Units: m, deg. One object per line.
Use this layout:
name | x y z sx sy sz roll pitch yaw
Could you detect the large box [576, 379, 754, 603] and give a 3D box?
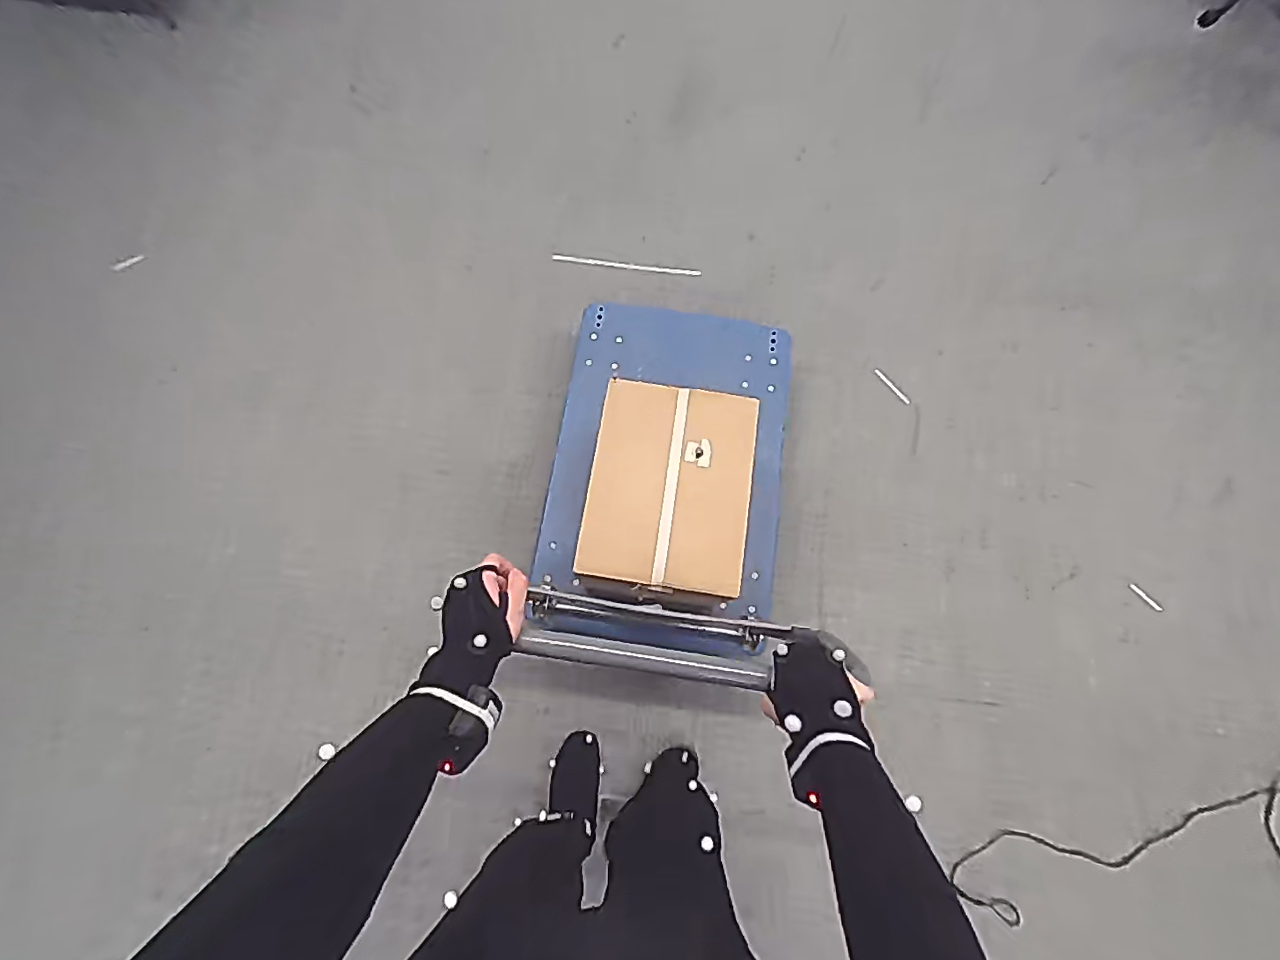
large box | 0.056 0.043 1.193 0.320 0.320 0.408 9 73 1
